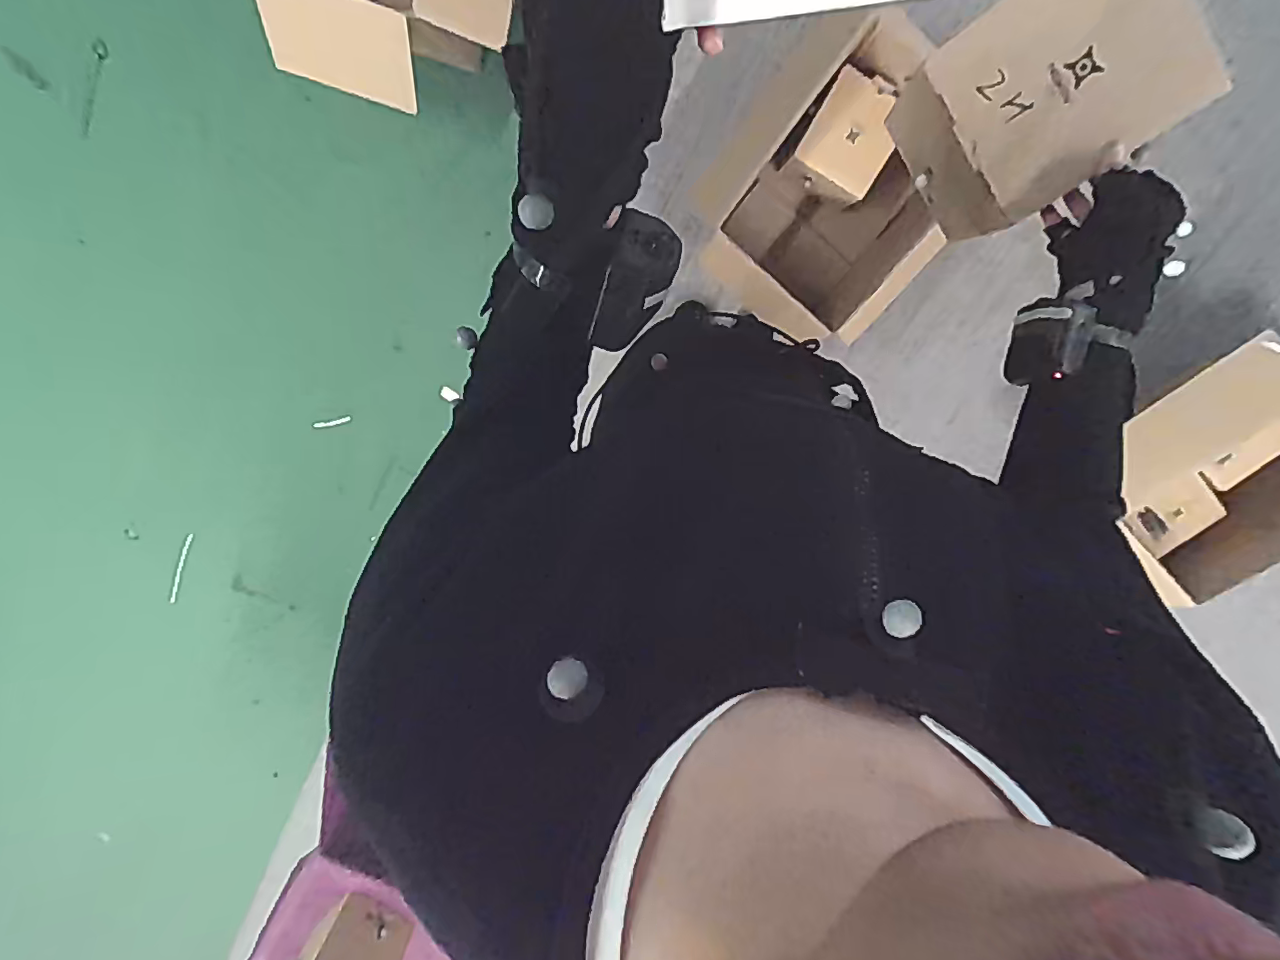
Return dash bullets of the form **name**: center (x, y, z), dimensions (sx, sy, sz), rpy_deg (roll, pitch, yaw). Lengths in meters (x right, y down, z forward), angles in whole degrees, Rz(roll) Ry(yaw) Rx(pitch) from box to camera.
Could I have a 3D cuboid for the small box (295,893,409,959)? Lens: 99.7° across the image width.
- **small box**: center (-0.607, 0.997, 1.100), dimensions (0.168, 0.176, 0.179), rpy_deg (38, 110, -11)
